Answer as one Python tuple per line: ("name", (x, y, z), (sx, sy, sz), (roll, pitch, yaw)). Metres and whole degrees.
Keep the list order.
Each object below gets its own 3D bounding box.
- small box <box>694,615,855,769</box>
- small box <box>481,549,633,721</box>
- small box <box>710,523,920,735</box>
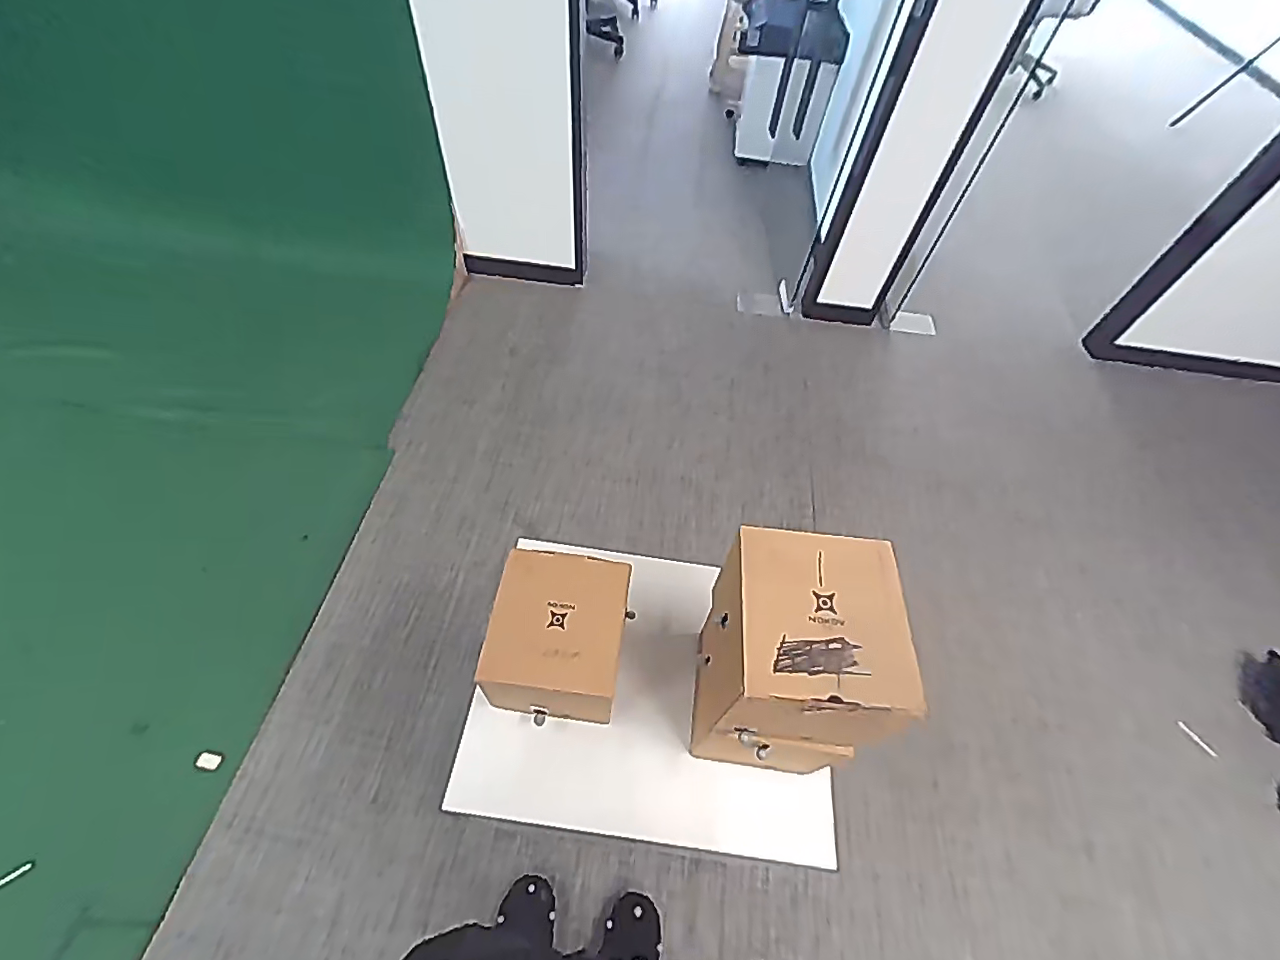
("small box", (0.168, 0.269, 0.724), (0.168, 0.176, 0.179), (7, 55, 2))
("small box", (-0.104, 0.217, 0.743), (0.168, 0.176, 0.179), (6, 57, 0))
("small box", (0.172, 0.169, 0.593), (0.168, 0.176, 0.179), (5, 55, 0))
